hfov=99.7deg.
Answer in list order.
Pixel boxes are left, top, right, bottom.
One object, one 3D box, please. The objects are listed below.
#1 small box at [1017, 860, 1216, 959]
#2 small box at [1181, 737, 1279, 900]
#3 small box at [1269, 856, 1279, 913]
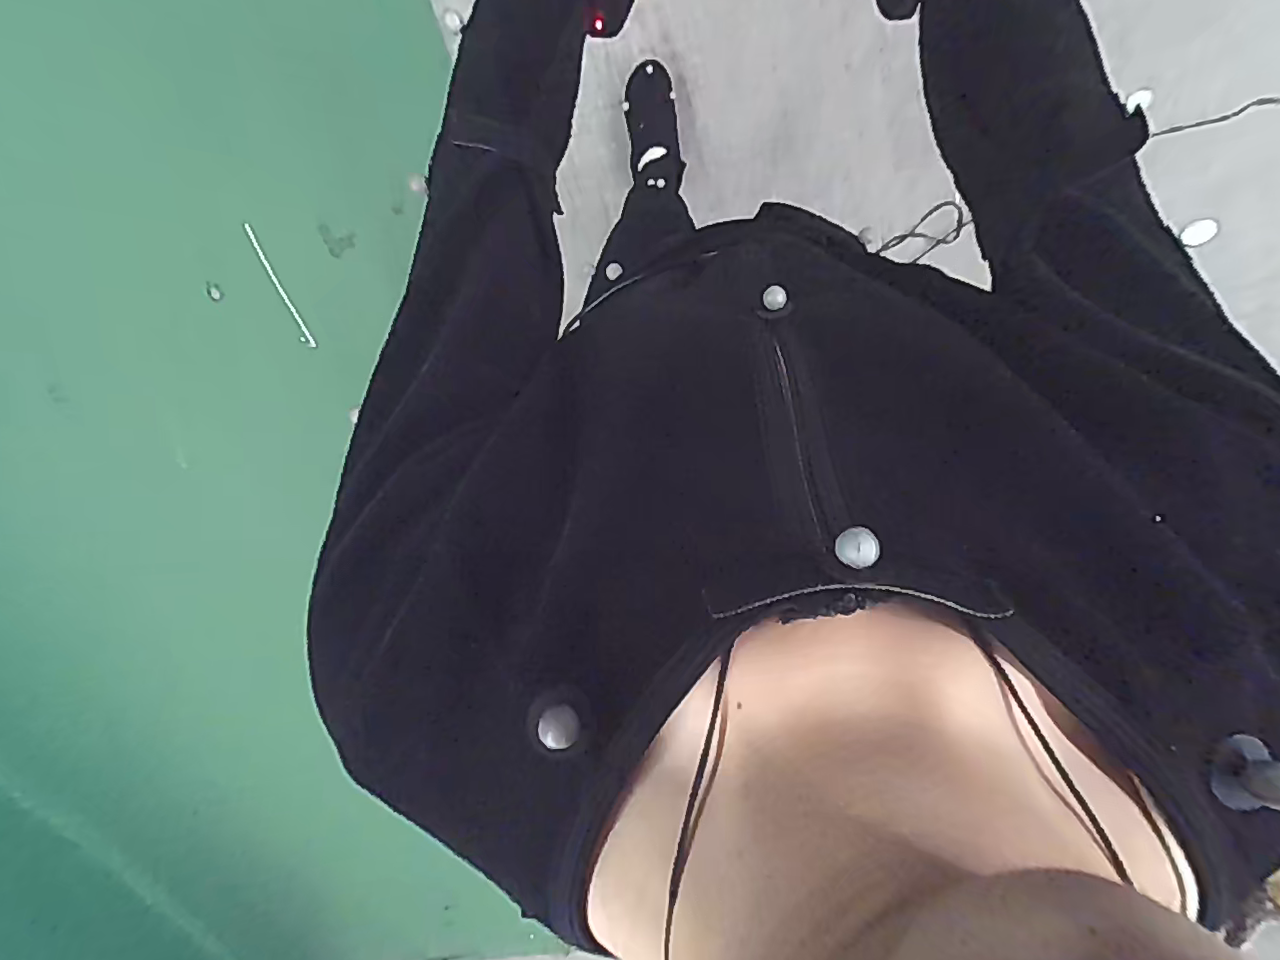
[{"bbox_3d":[0.729,0.715,0.827,0.179,0.176,0.168,-3,116,5],"label":"small box"},{"bbox_3d":[1.092,0.567,0.920,0.179,0.176,0.168,-18,113,12],"label":"small box"},{"bbox_3d":[1.078,0.635,0.774,0.179,0.176,0.168,-21,112,12],"label":"small box"}]
